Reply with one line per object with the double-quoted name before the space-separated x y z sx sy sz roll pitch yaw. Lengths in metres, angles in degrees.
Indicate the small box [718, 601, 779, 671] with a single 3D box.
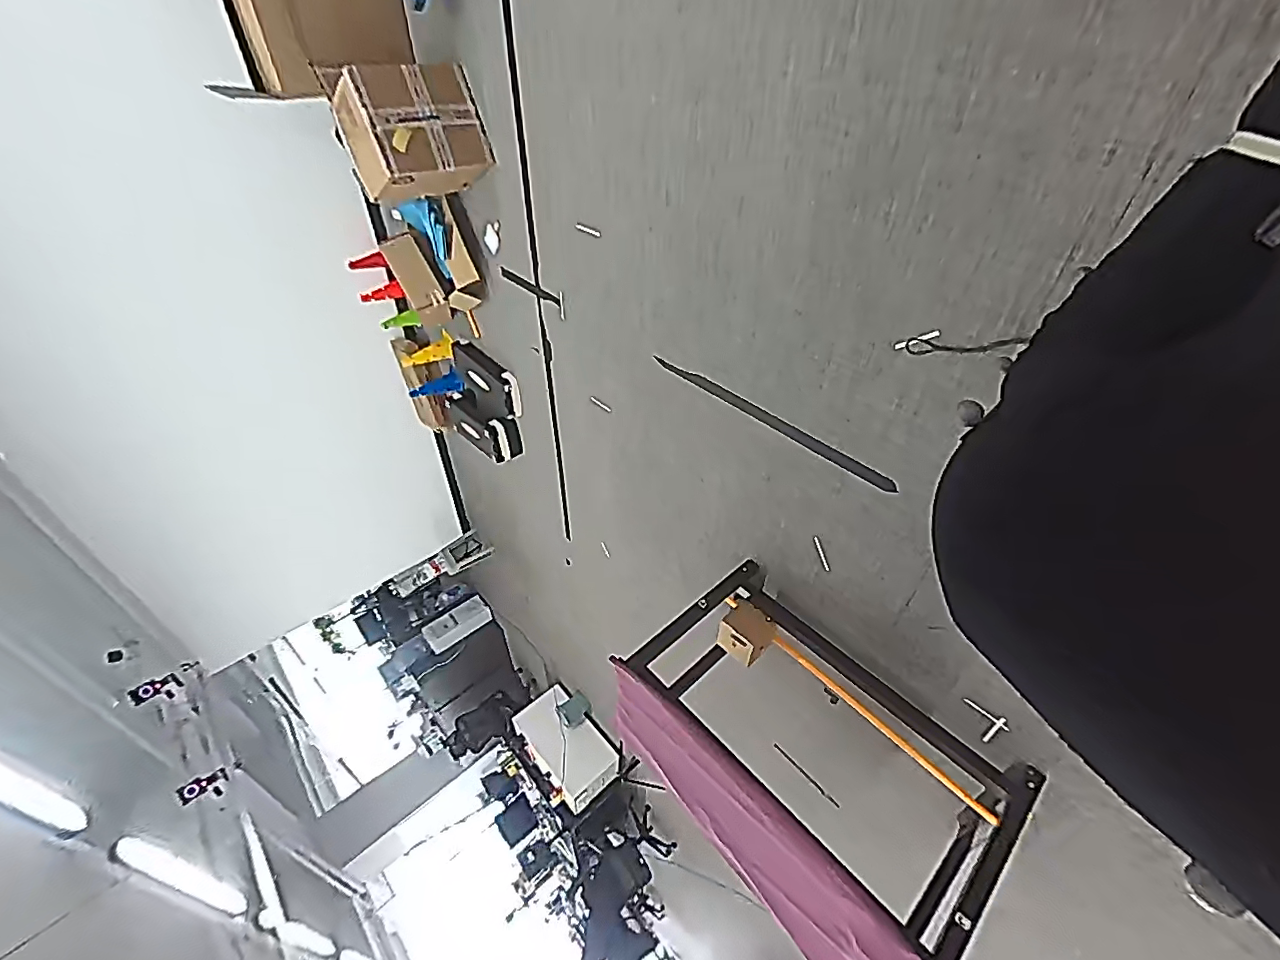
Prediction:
"small box" 0.441 0.628 2.189 0.168 0.176 0.179 36 143 32
